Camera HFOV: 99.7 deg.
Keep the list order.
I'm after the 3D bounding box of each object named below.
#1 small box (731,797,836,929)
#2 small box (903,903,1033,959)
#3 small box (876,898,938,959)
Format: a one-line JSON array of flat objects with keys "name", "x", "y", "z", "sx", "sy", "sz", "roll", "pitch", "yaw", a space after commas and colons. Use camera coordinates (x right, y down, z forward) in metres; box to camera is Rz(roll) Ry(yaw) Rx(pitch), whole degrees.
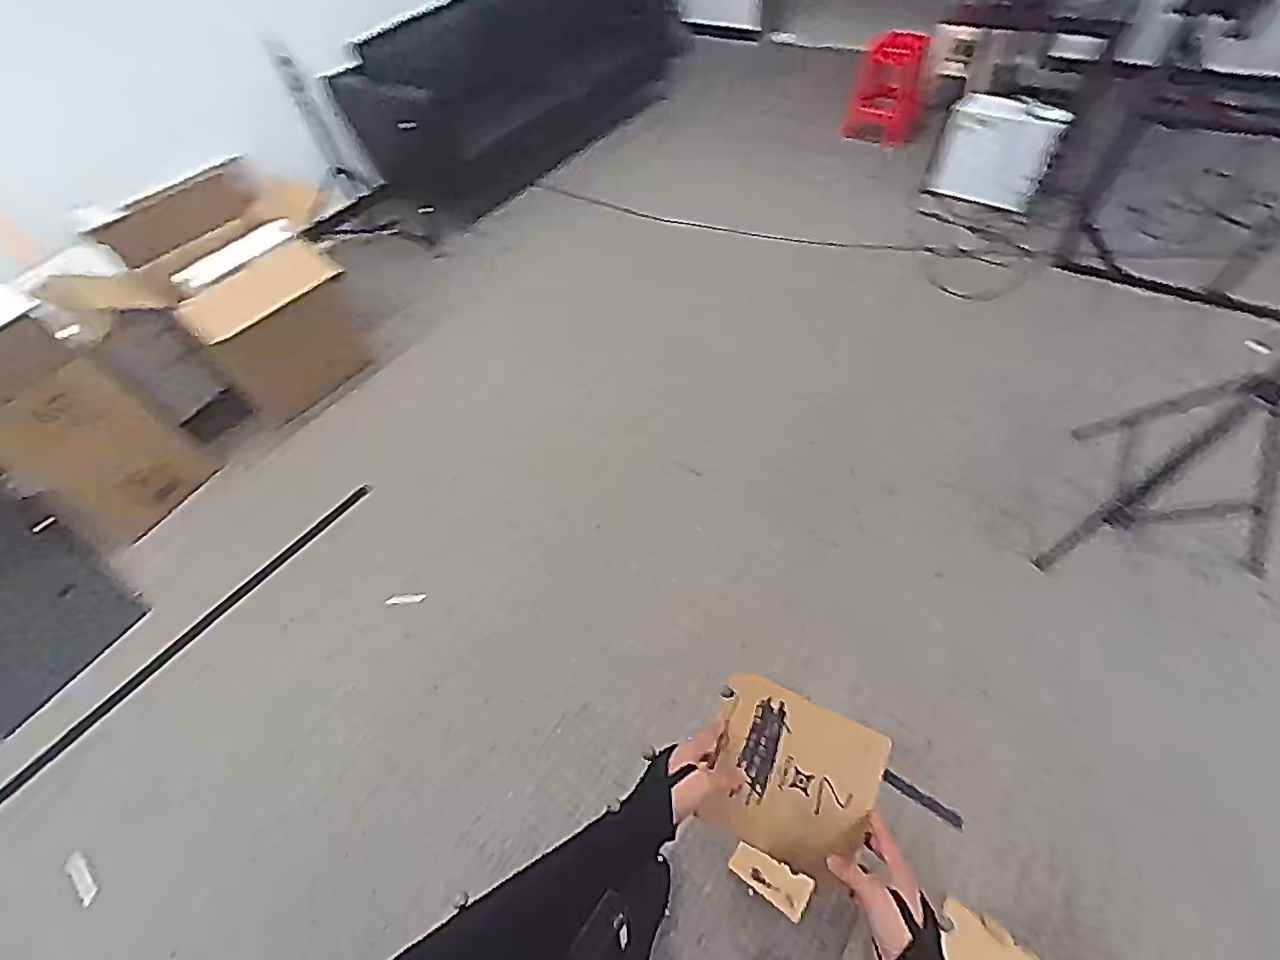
[{"name": "small box", "x": 0.316, "y": 0.862, "z": 1.224, "sx": 0.168, "sy": 0.176, "sz": 0.179, "roll": 28, "pitch": 61, "yaw": 25}, {"name": "small box", "x": 0.583, "y": 0.896, "z": 0.960, "sx": 0.168, "sy": 0.176, "sz": 0.179, "roll": 30, "pitch": 62, "yaw": 26}, {"name": "small box", "x": 0.601, "y": 0.989, "z": 1.094, "sx": 0.168, "sy": 0.176, "sz": 0.179, "roll": 30, "pitch": 62, "yaw": 25}]
